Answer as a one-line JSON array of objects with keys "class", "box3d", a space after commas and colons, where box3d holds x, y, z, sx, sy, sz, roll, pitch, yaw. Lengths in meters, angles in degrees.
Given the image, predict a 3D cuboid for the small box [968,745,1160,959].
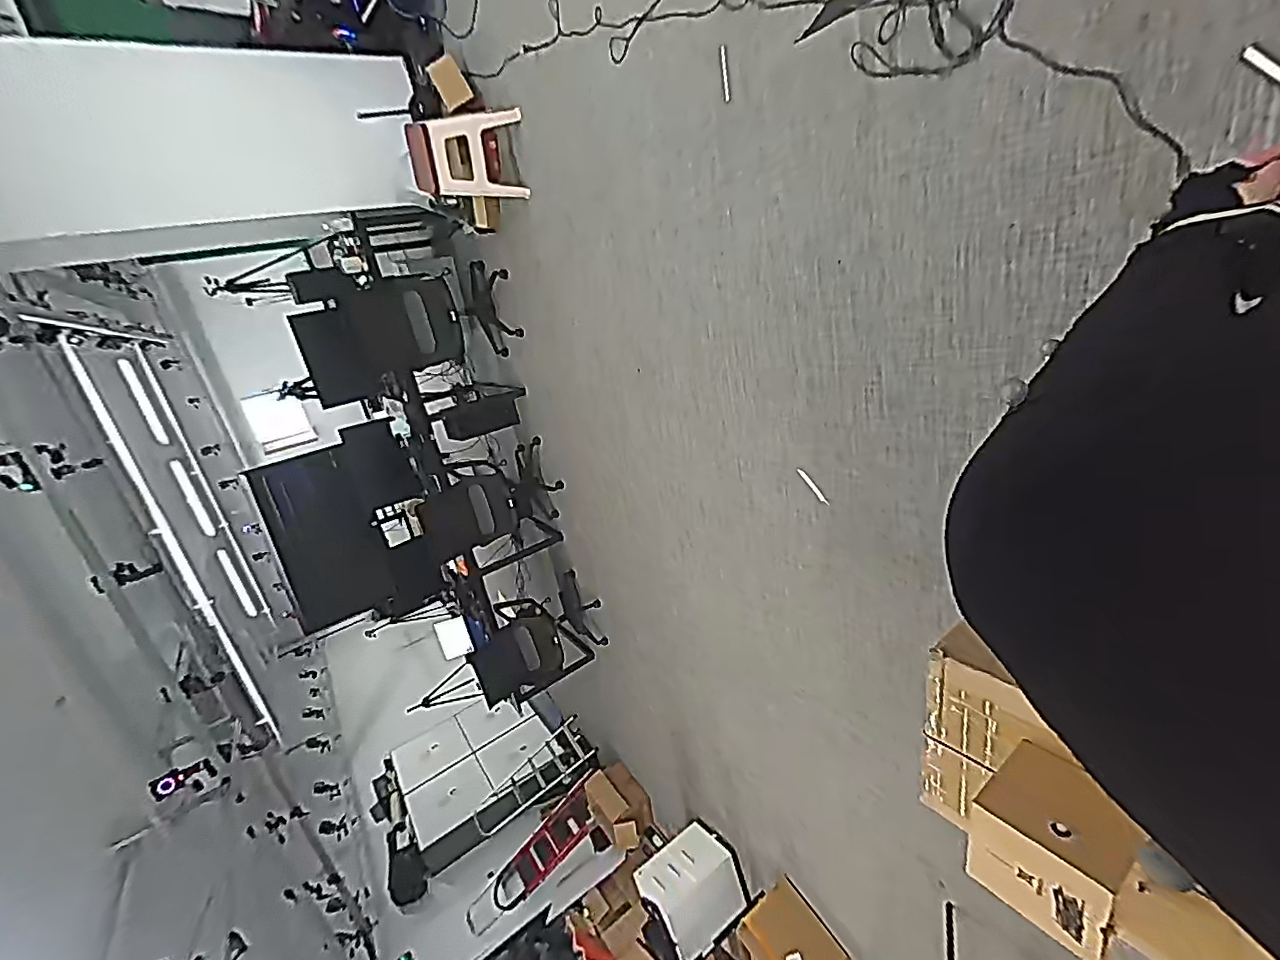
[{"class": "small box", "box3d": [0.626, 0.541, 0.806, 0.179, 0.176, 0.168, 21, 127, 54]}]
